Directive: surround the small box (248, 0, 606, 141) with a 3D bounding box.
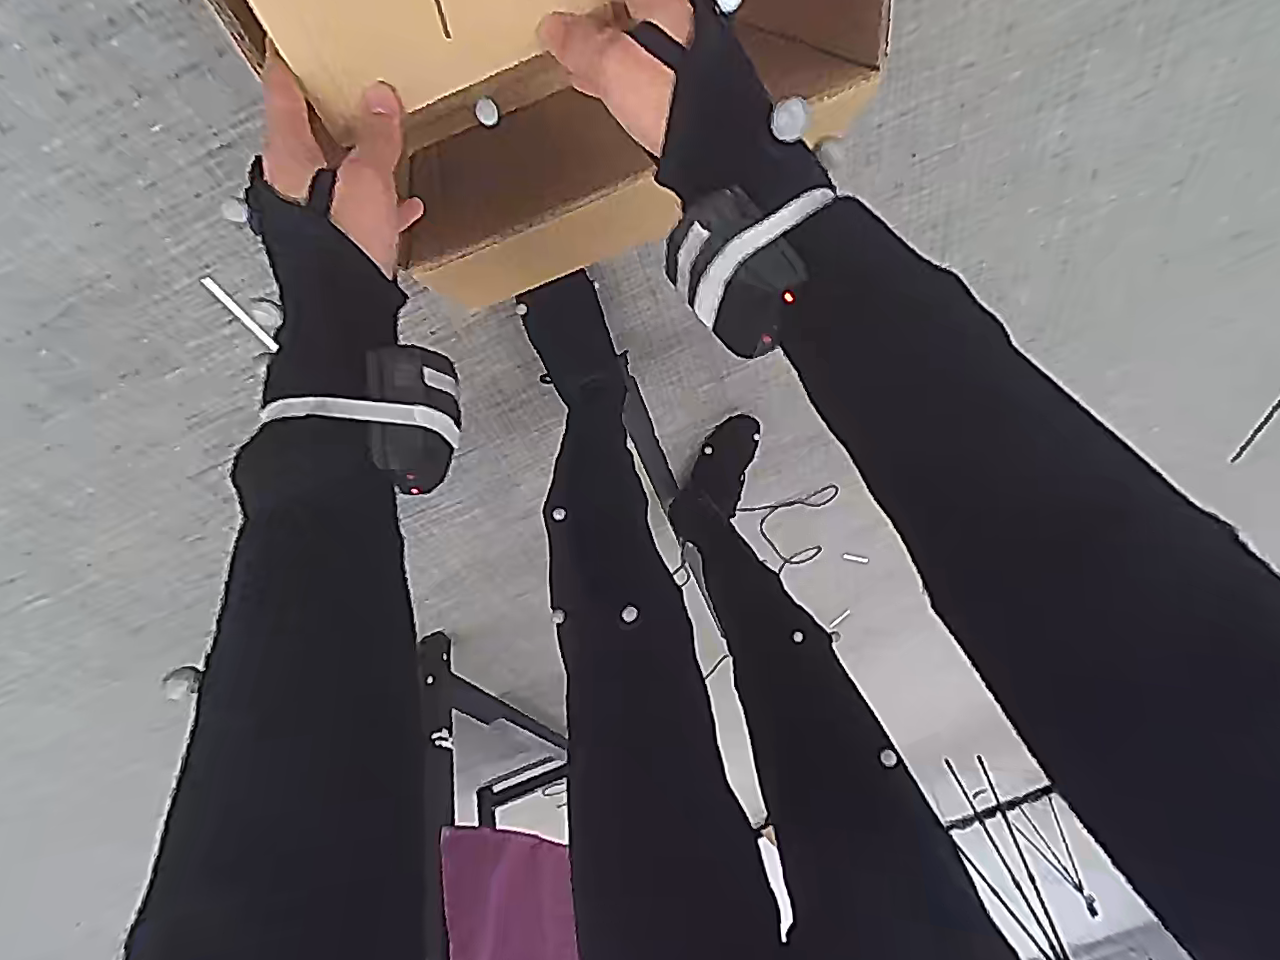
[{"bbox_3d":[-0.134,-0.321,0.307,0.168,0.176,0.179,-21,126,4],"label":"small box"}]
